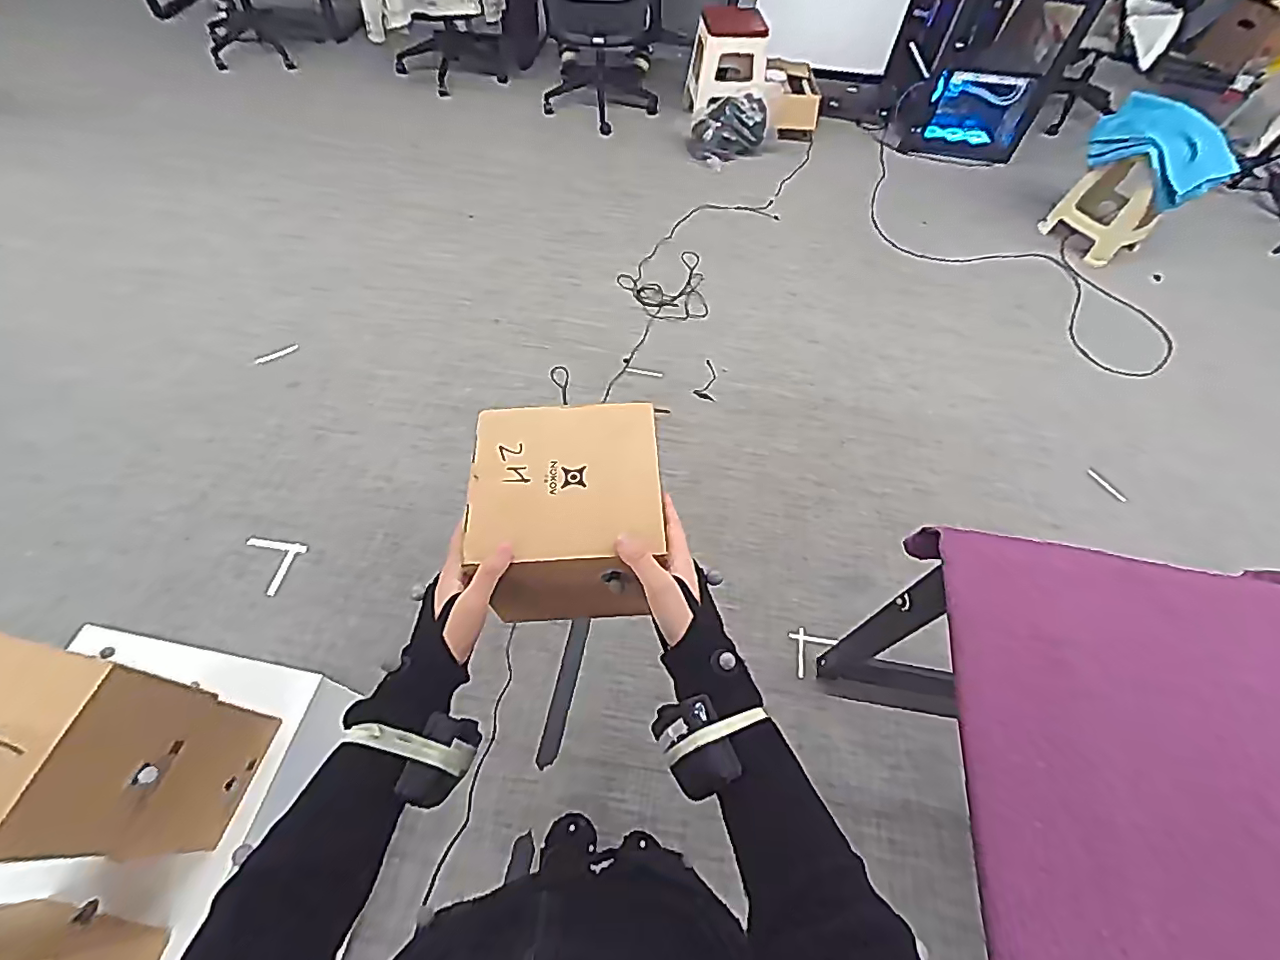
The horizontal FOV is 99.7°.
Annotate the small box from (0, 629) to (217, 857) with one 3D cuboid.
[{"bbox_3d":[-0.598,0.265,0.546,0.179,0.176,0.168,12,59,4],"label":"small box"}]

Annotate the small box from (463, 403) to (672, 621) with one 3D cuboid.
[{"bbox_3d":[-0.064,0.039,0.558,0.179,0.176,0.168,-3,58,-1],"label":"small box"}]

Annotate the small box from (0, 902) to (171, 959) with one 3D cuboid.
[{"bbox_3d":[-0.660,0.557,0.553,0.179,0.176,0.168,10,59,5],"label":"small box"}]
